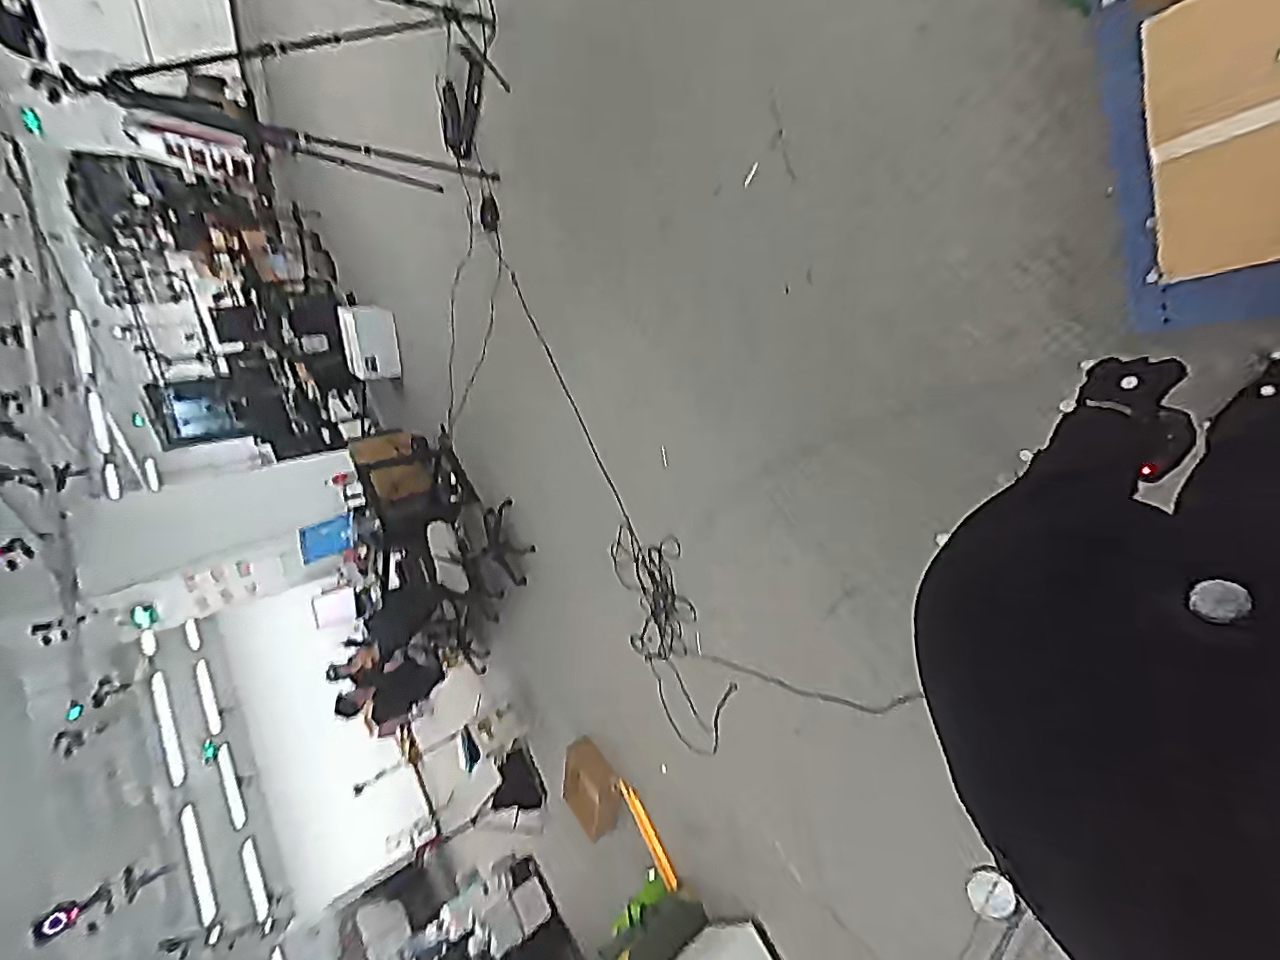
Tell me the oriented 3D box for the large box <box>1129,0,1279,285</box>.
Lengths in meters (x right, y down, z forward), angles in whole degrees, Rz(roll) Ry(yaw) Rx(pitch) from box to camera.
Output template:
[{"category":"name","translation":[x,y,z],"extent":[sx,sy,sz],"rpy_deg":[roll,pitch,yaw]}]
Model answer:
[{"category":"large box","translation":[0.863,-0.442,0.603],"extent":[0.408,0.320,0.320],"rpy_deg":[-1,103,54]}]
